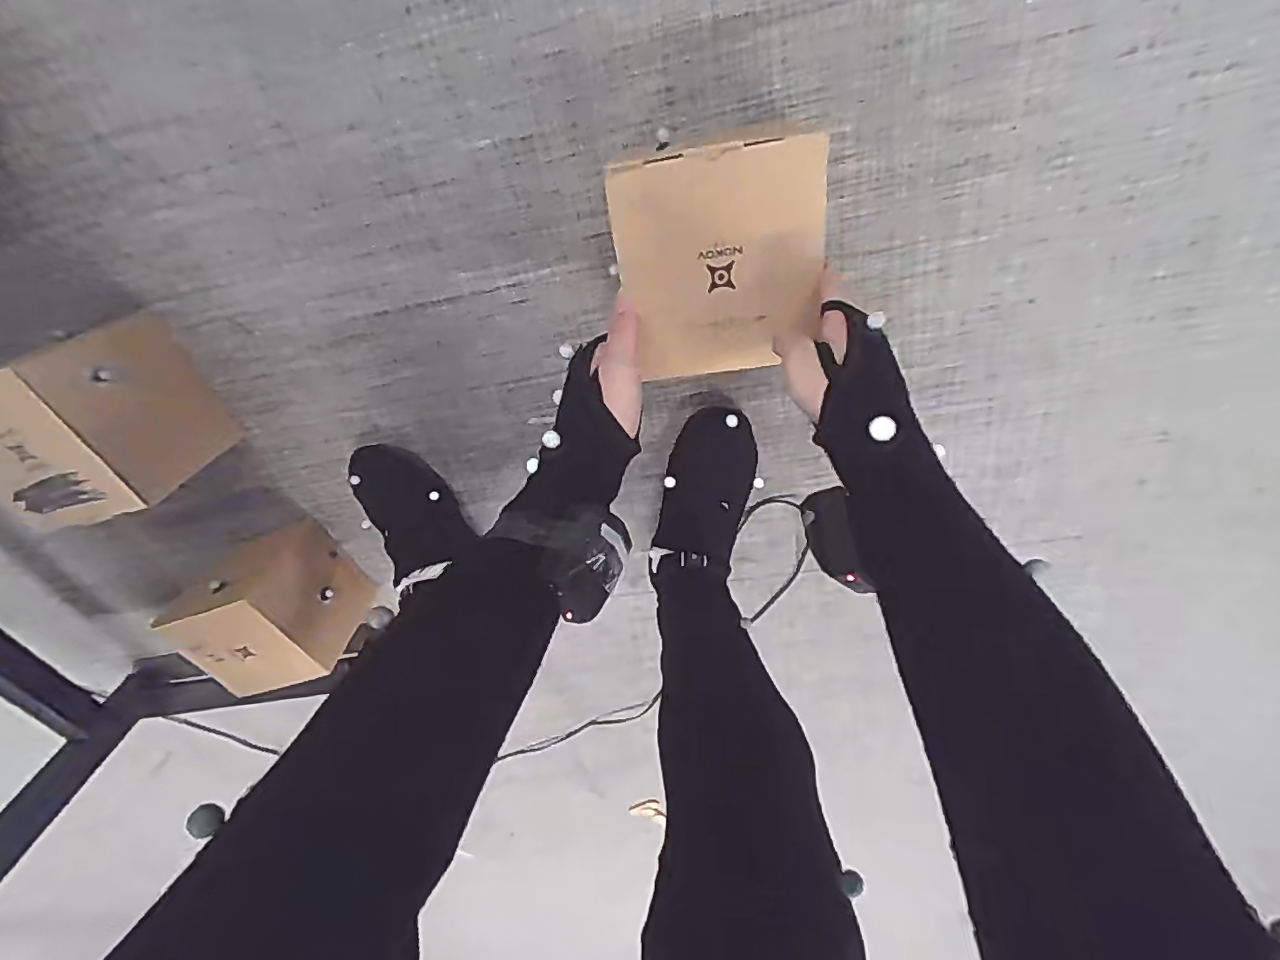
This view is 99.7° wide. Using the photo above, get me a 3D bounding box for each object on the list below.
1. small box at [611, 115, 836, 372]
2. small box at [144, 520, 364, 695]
[{"bbox_3d":[0.070,-0.220,0.497,0.168,0.176,0.179,-5,124,6],"label":"small box"},{"bbox_3d":[-0.541,0.183,0.795,0.179,0.176,0.168,-17,122,13],"label":"small box"}]
